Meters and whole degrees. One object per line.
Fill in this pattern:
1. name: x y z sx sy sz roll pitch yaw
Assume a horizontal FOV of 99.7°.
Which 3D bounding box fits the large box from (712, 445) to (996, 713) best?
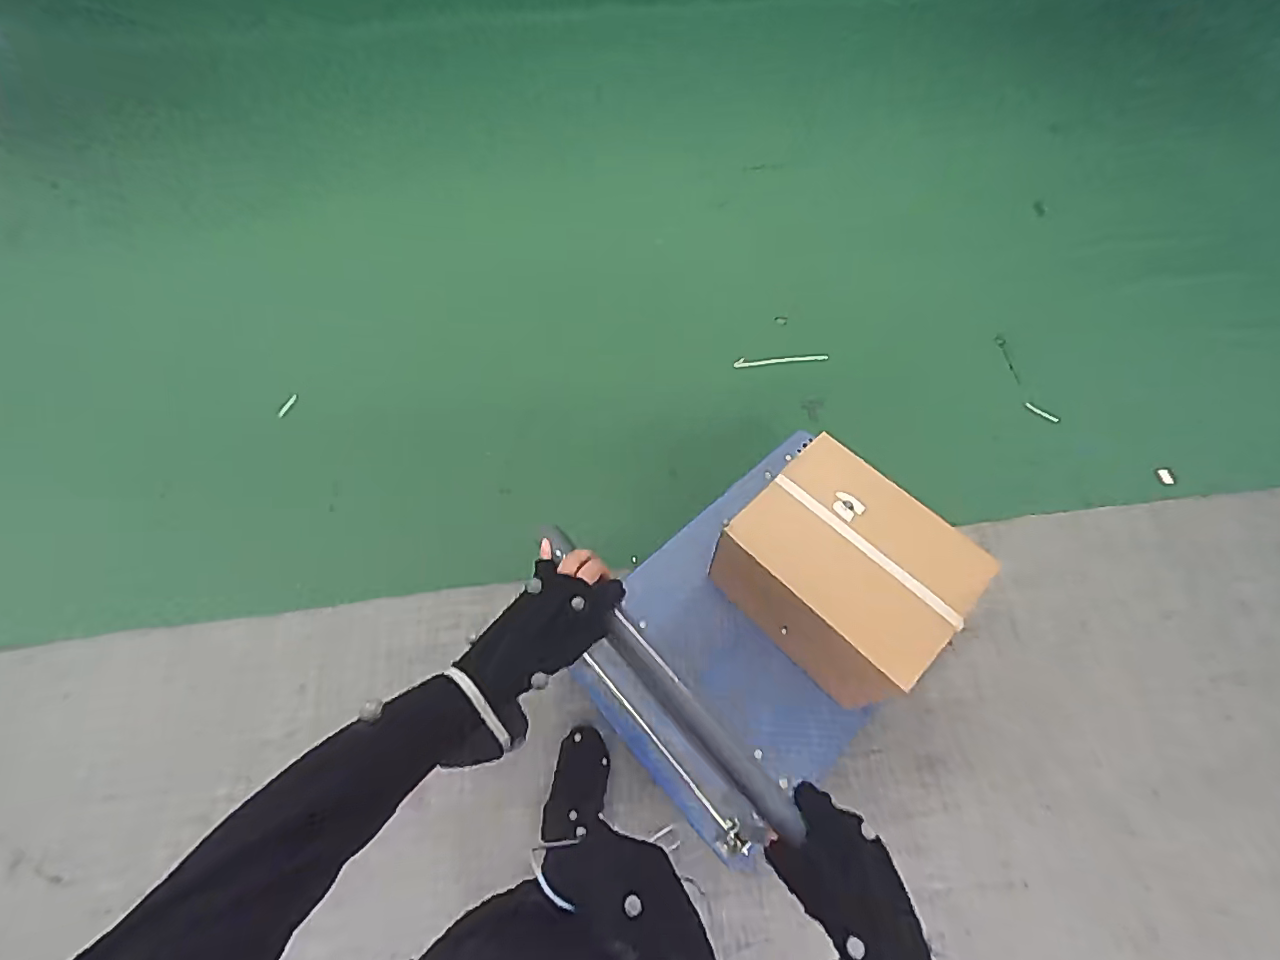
1. large box: 0.408 0.212 1.130 0.320 0.320 0.408 -41 67 -20
